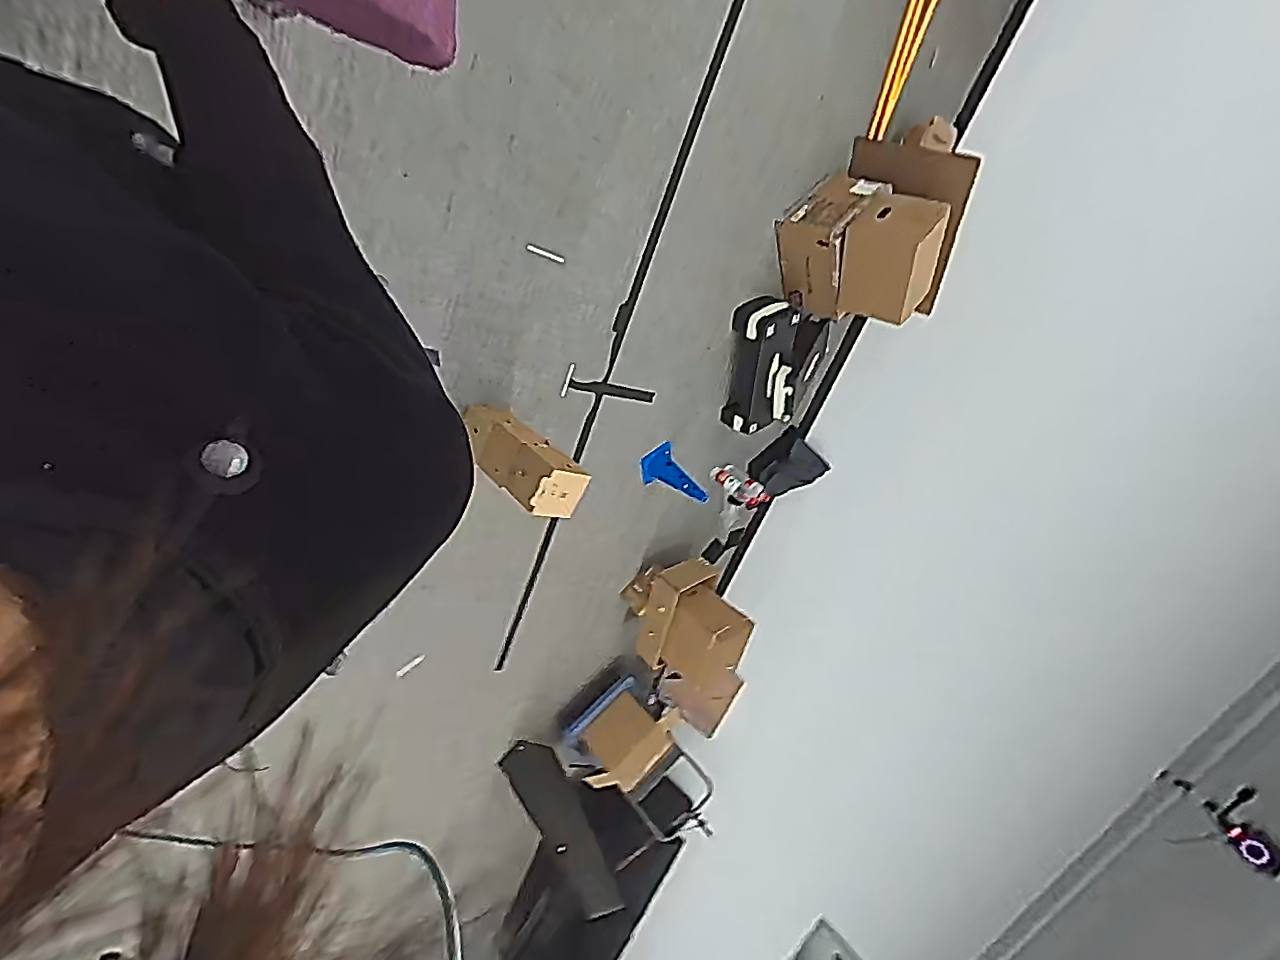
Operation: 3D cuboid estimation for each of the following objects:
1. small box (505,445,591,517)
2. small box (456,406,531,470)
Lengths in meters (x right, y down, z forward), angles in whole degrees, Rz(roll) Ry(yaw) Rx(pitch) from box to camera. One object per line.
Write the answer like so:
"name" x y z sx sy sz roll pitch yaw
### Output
"small box" -0.299 0.003 1.747 0.179 0.176 0.168 12 110 -53
"small box" -0.529 -0.150 1.928 0.179 0.176 0.168 4 117 -51
